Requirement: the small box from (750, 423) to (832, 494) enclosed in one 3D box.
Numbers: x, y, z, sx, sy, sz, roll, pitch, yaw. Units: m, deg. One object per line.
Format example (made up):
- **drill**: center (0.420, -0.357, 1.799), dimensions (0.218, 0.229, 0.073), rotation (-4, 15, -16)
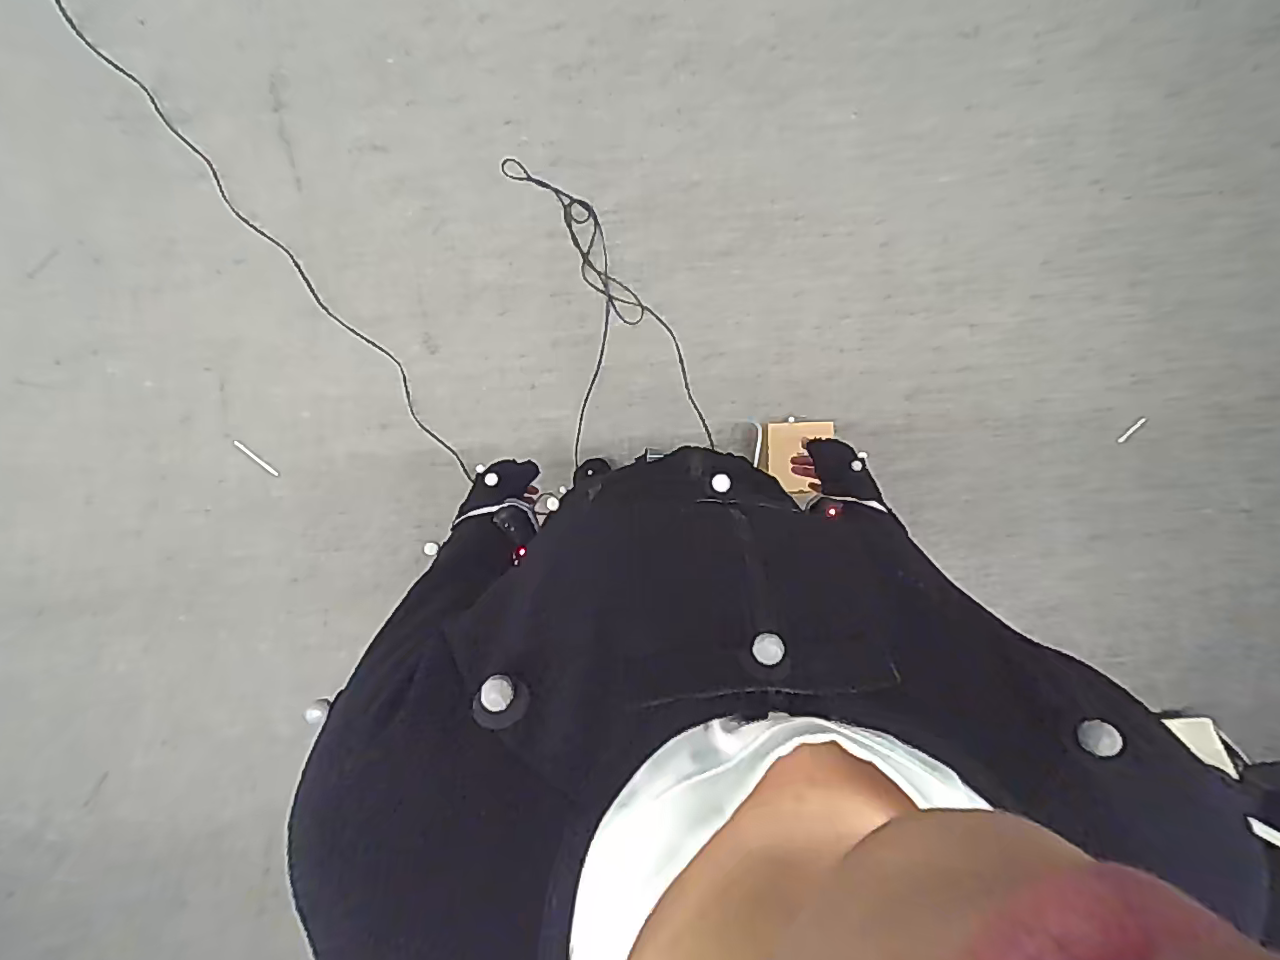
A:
- **small box**: center (0.389, -0.060, 1.414), dimensions (0.168, 0.176, 0.179), rotation (-1, 95, -3)
